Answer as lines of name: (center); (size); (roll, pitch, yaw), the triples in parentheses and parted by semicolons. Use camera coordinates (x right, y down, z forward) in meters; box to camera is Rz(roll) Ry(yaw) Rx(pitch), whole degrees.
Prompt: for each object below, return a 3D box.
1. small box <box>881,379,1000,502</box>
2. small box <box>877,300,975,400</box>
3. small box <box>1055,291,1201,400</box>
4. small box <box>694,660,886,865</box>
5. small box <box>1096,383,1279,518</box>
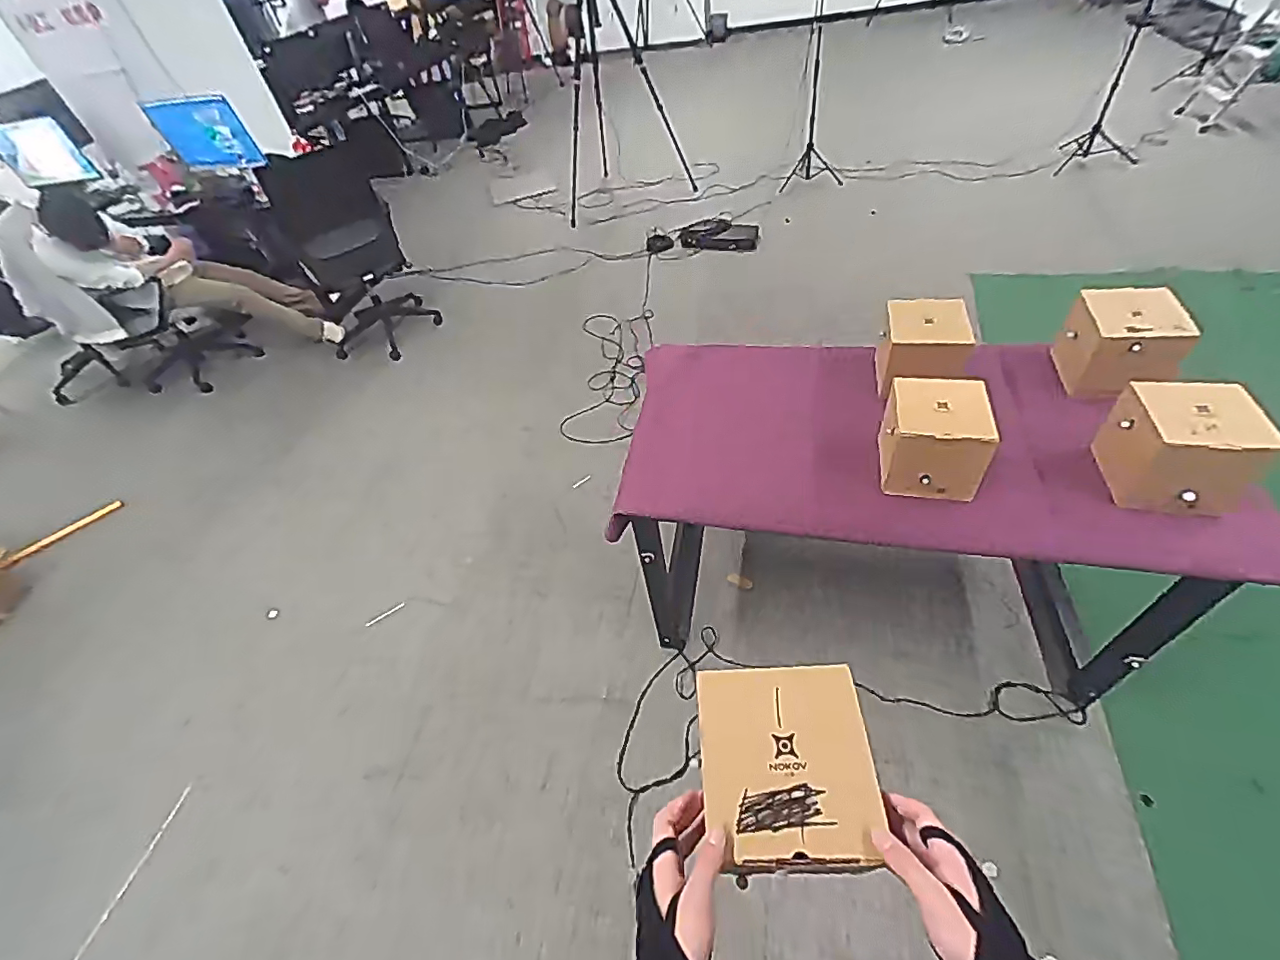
small box: (0.589, -0.081, 1.086); (0.168, 0.176, 0.179); (6, 49, 15)
small box: (0.664, -0.303, 1.275); (0.168, 0.176, 0.179); (5, 51, 15)
small box: (1.052, -0.294, 1.188); (0.168, 0.176, 0.179); (3, 50, 16)
small box: (0.150, 0.316, 0.597); (0.168, 0.176, 0.179); (-4, 51, 6)
small box: (0.979, -0.055, 0.985); (0.168, 0.176, 0.179); (5, 48, 16)
